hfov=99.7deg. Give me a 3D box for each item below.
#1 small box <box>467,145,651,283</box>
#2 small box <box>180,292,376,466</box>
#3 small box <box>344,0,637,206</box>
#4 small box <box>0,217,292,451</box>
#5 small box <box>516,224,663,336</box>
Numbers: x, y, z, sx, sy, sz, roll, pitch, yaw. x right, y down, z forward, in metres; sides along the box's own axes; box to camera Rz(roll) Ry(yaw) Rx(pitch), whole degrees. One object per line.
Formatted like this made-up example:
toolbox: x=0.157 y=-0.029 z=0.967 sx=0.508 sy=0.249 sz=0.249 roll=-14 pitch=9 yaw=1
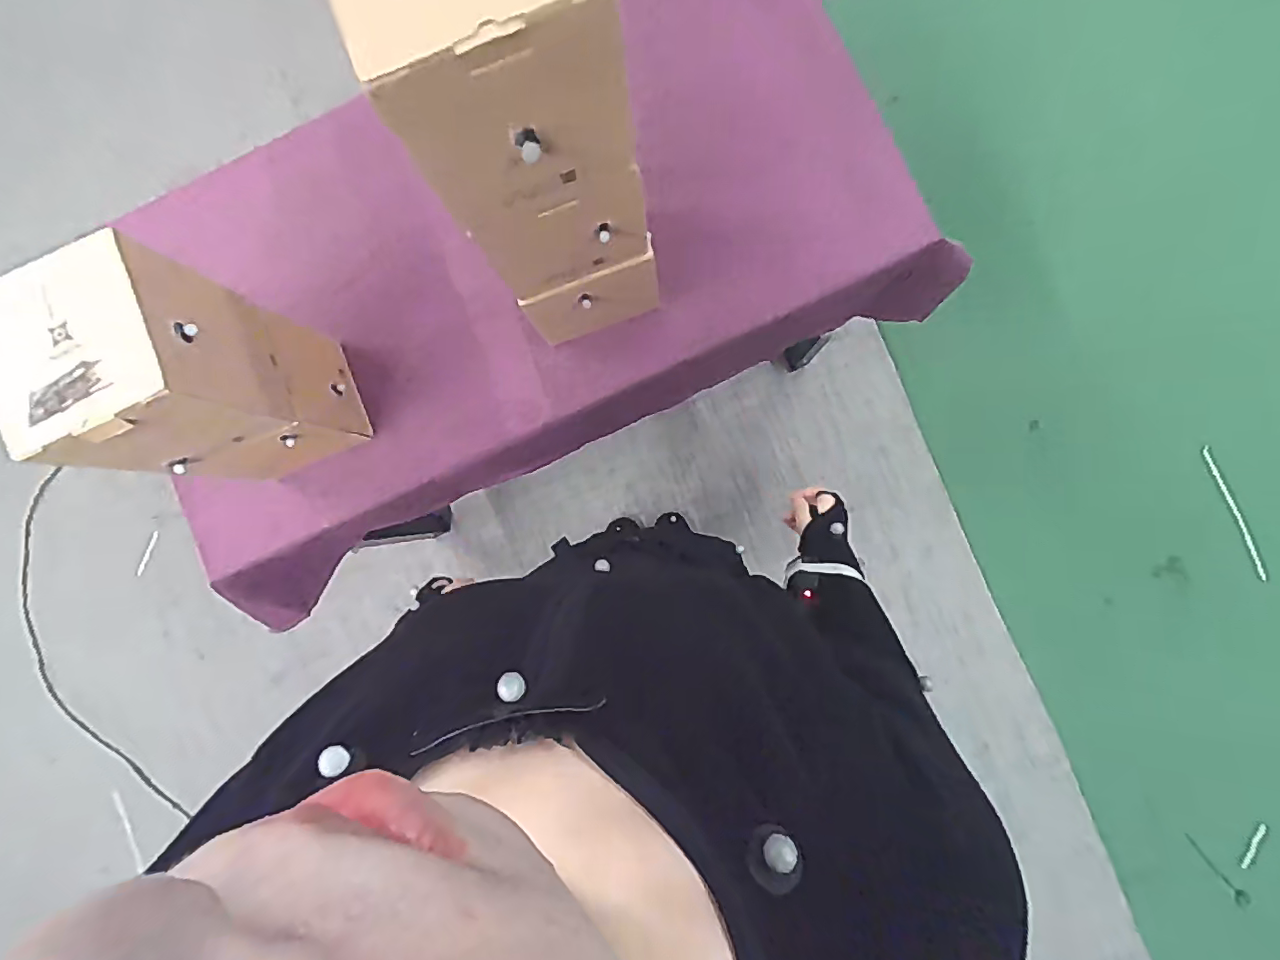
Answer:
small box: x=-0.090 y=-0.331 z=0.570 sx=0.168 sy=0.176 sz=0.179 roll=-18 pitch=85 yaw=3
small box: x=-0.513 y=-0.127 z=0.758 sx=0.179 sy=0.176 sz=0.168 roll=-22 pitch=85 yaw=2
small box: x=-0.106 y=-0.339 z=0.407 sx=0.168 sy=0.176 sz=0.179 roll=-19 pitch=87 yaw=2
small box: x=-0.529 y=-0.139 z=0.595 sx=0.168 sy=0.176 sz=0.179 roll=-22 pitch=84 yaw=2
small box: x=-0.074 y=-0.315 z=0.731 sx=0.179 sy=0.176 sz=0.168 roll=-17 pitch=87 yaw=4
